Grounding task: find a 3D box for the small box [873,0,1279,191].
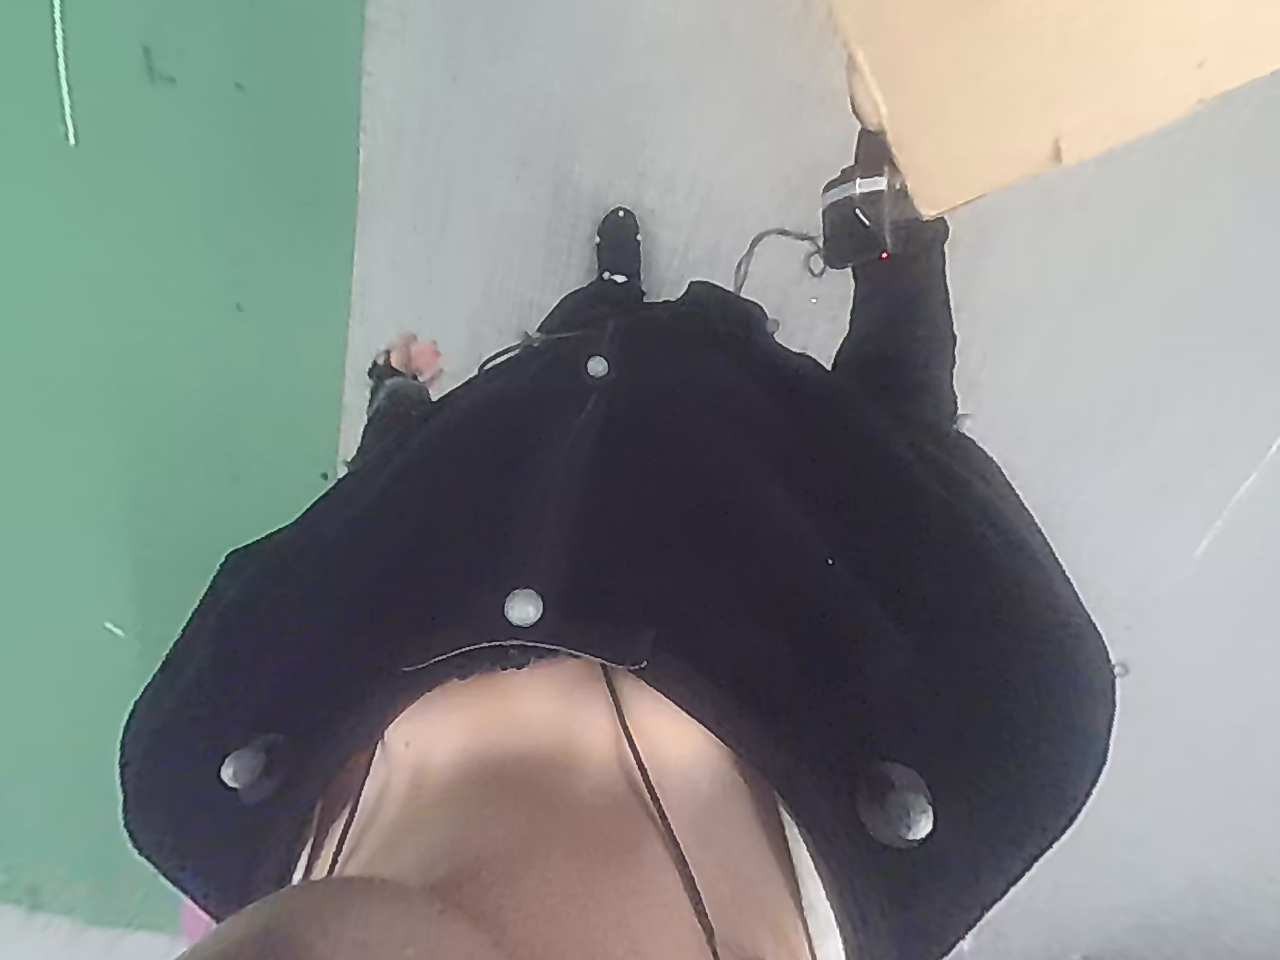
[{"bbox_3d":[0.172,-0.266,0.203,0.168,0.179,0.176,-12,148,39],"label":"small box"}]
